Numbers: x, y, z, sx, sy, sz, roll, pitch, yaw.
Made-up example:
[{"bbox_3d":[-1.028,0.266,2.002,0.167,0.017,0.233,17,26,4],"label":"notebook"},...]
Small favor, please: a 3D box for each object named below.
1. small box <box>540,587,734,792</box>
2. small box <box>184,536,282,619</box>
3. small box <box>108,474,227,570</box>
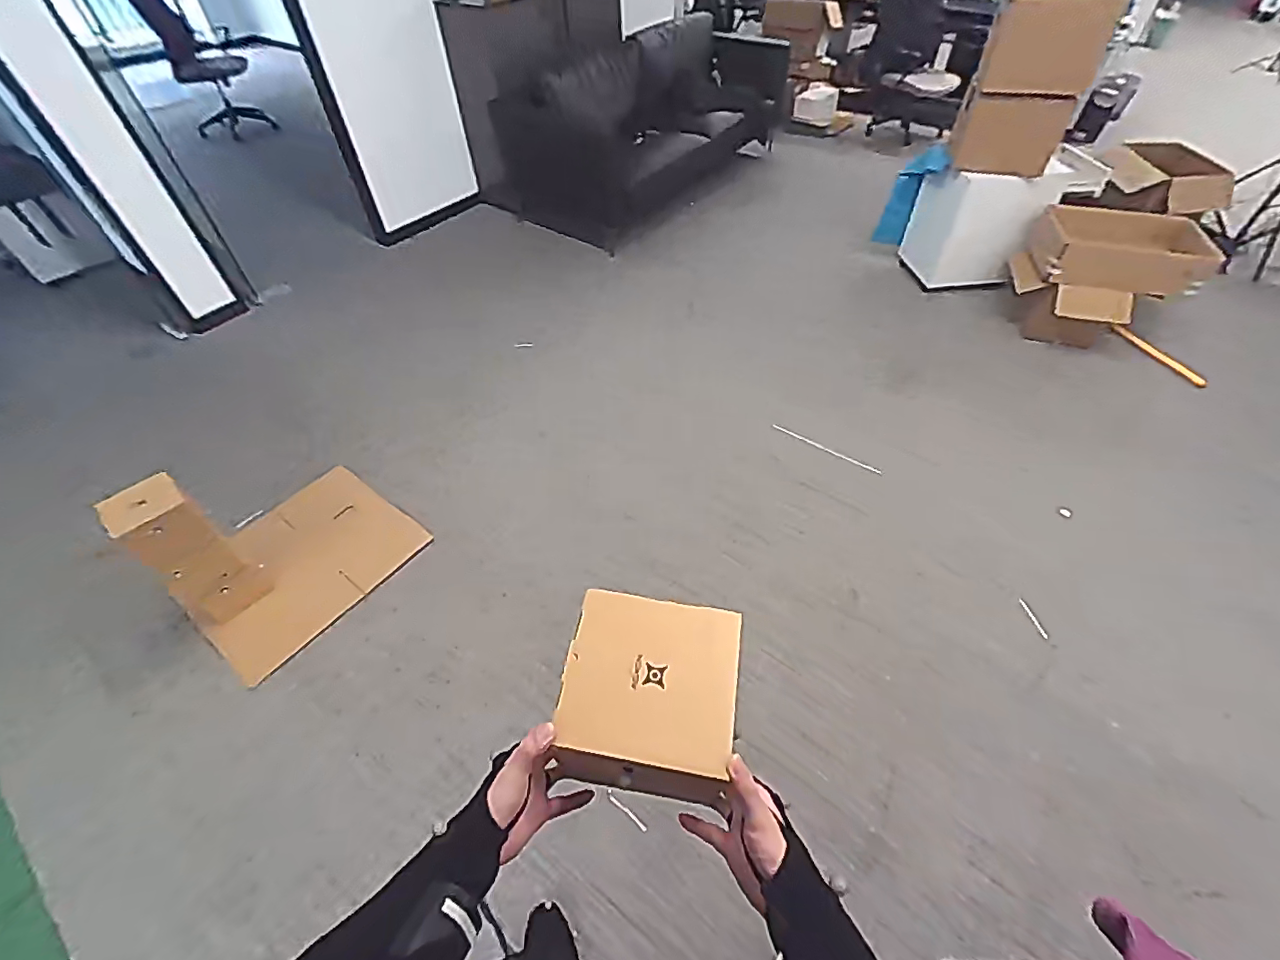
[{"bbox_3d":[0.006,0.243,0.617,0.179,0.176,0.168,6,53,8],"label":"small box"},{"bbox_3d":[-1.348,0.330,1.799,0.168,0.176,0.179,34,58,27],"label":"small box"},{"bbox_3d":[-1.342,0.123,1.545,0.168,0.176,0.179,36,59,27],"label":"small box"}]
